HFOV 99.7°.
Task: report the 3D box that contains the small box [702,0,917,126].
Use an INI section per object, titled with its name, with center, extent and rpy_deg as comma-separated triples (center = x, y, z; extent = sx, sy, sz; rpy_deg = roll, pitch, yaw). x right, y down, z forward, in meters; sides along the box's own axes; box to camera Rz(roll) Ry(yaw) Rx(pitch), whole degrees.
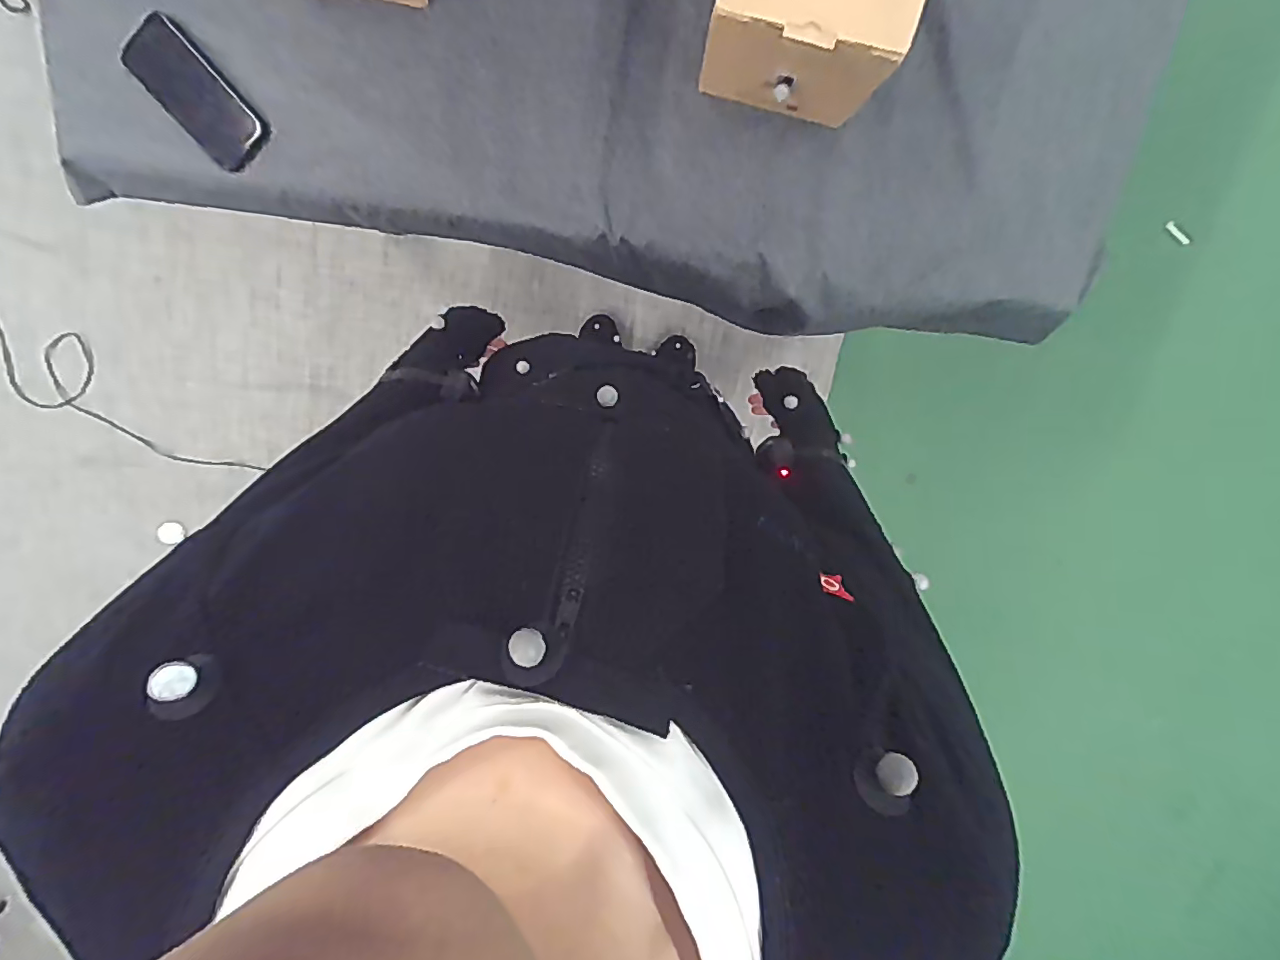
[small box]
center = 0.158, -0.463, 0.501
extent = 0.168, 0.176, 0.179
rpy_deg = 13, 106, -2
